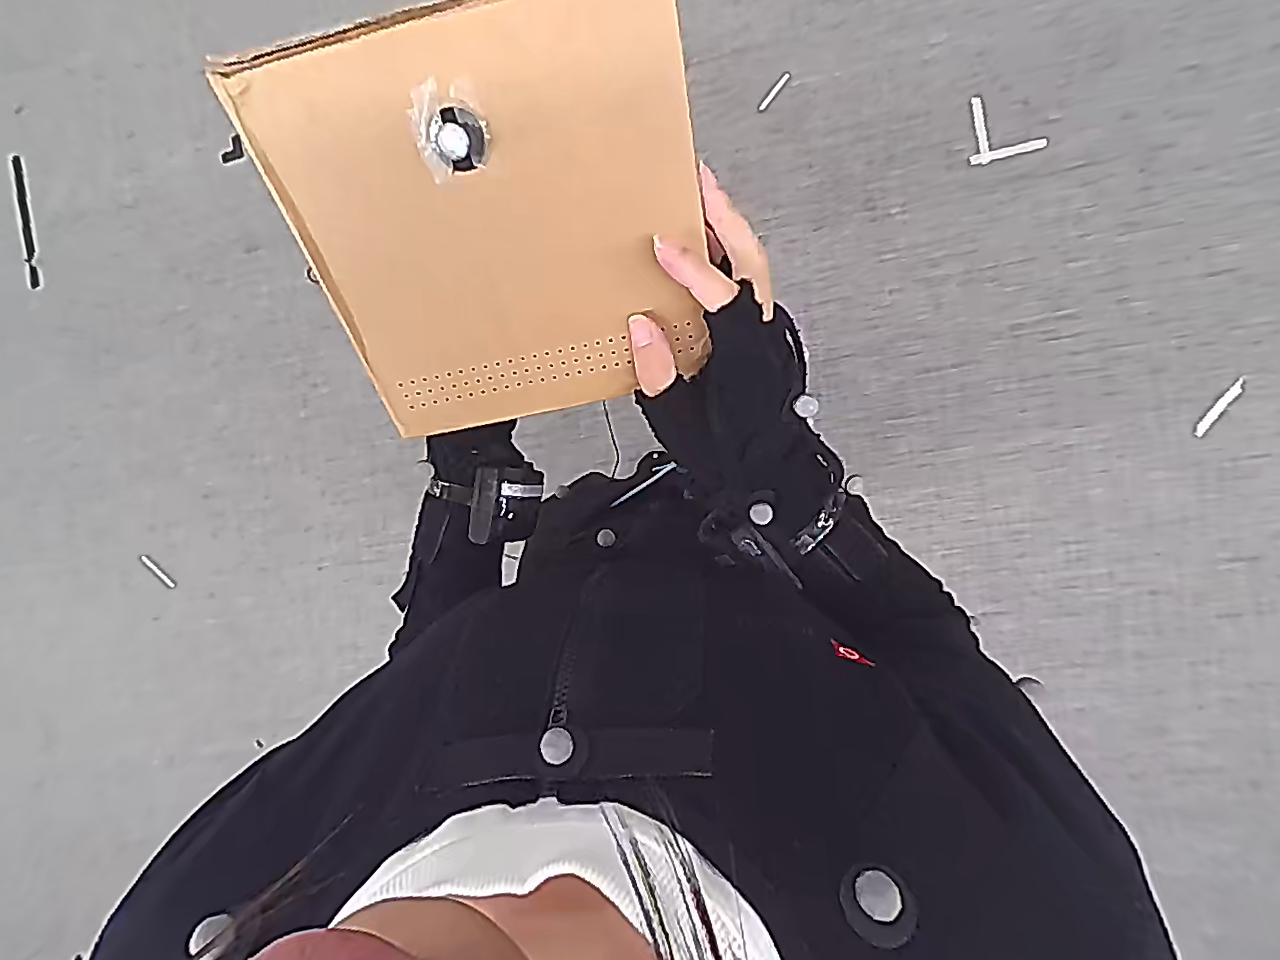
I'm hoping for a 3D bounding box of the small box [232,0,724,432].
[{"bbox_3d":[-0.058,-0.144,0.306,0.179,0.168,0.176,-10,126,6],"label":"small box"}]
